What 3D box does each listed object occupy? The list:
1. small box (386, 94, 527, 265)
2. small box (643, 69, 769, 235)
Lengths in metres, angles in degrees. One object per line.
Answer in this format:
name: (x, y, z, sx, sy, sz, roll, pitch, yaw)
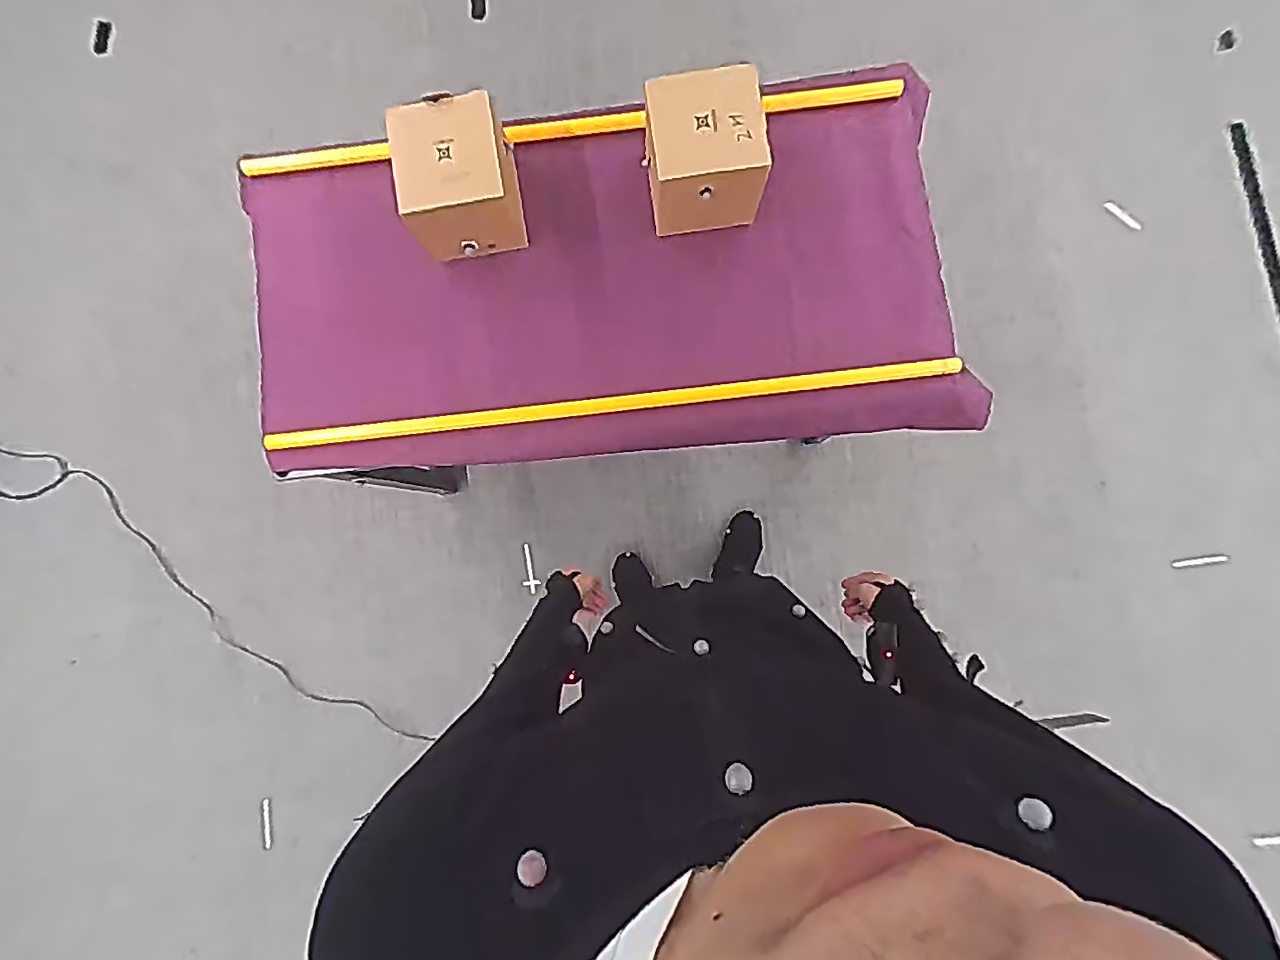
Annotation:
small box: (-0.297, -0.491, 0.905, 0.168, 0.176, 0.179, -10, 86, 1)
small box: (0.103, -0.531, 0.899, 0.179, 0.176, 0.168, -7, 86, 1)
